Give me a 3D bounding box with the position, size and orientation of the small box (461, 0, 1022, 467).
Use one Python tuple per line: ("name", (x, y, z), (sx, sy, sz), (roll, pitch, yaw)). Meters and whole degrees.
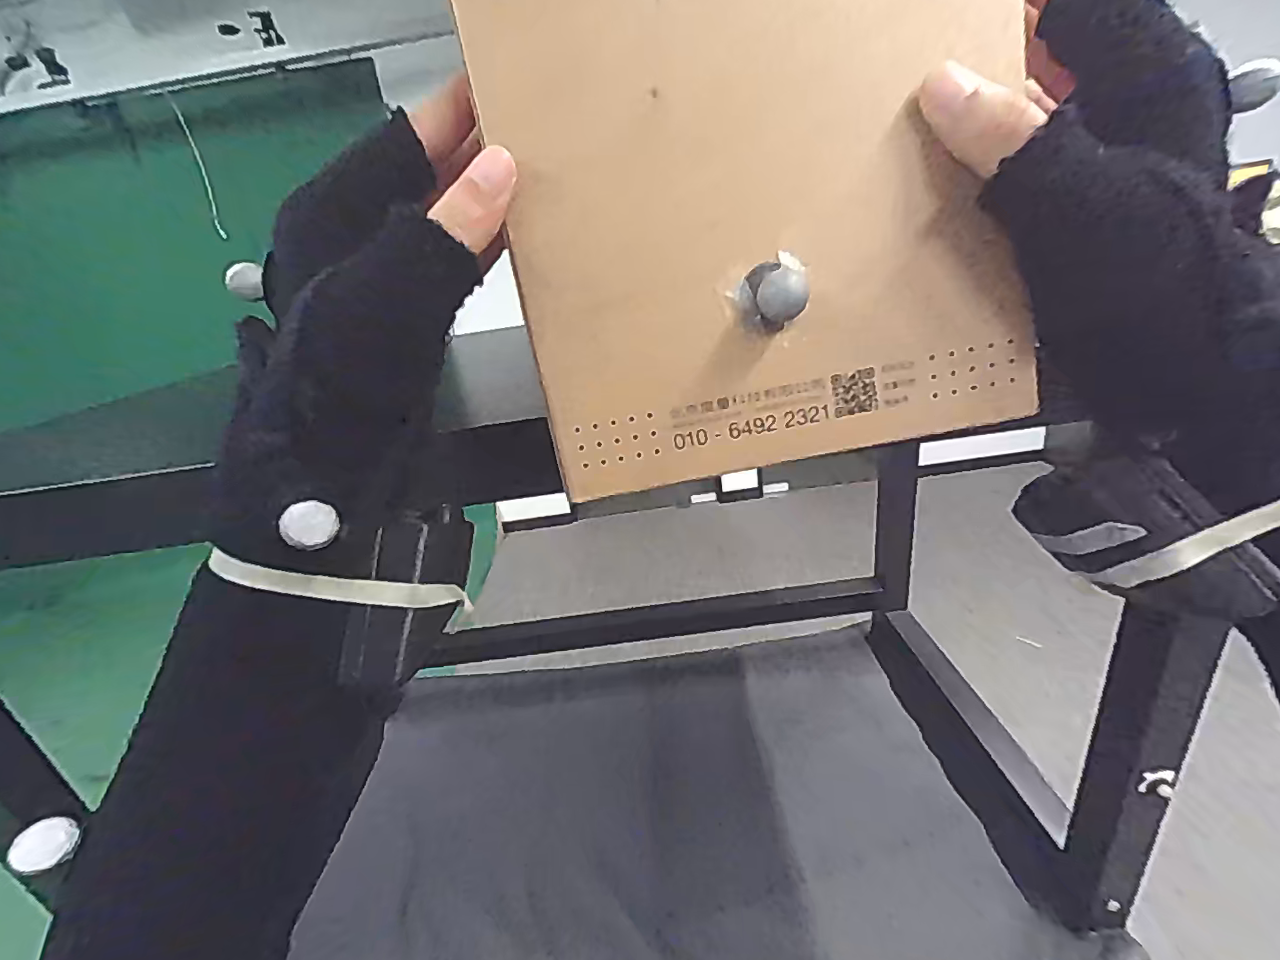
("small box", (0.039, -0.110, 0.252), (0.168, 0.176, 0.179), (-11, 13, 3))
